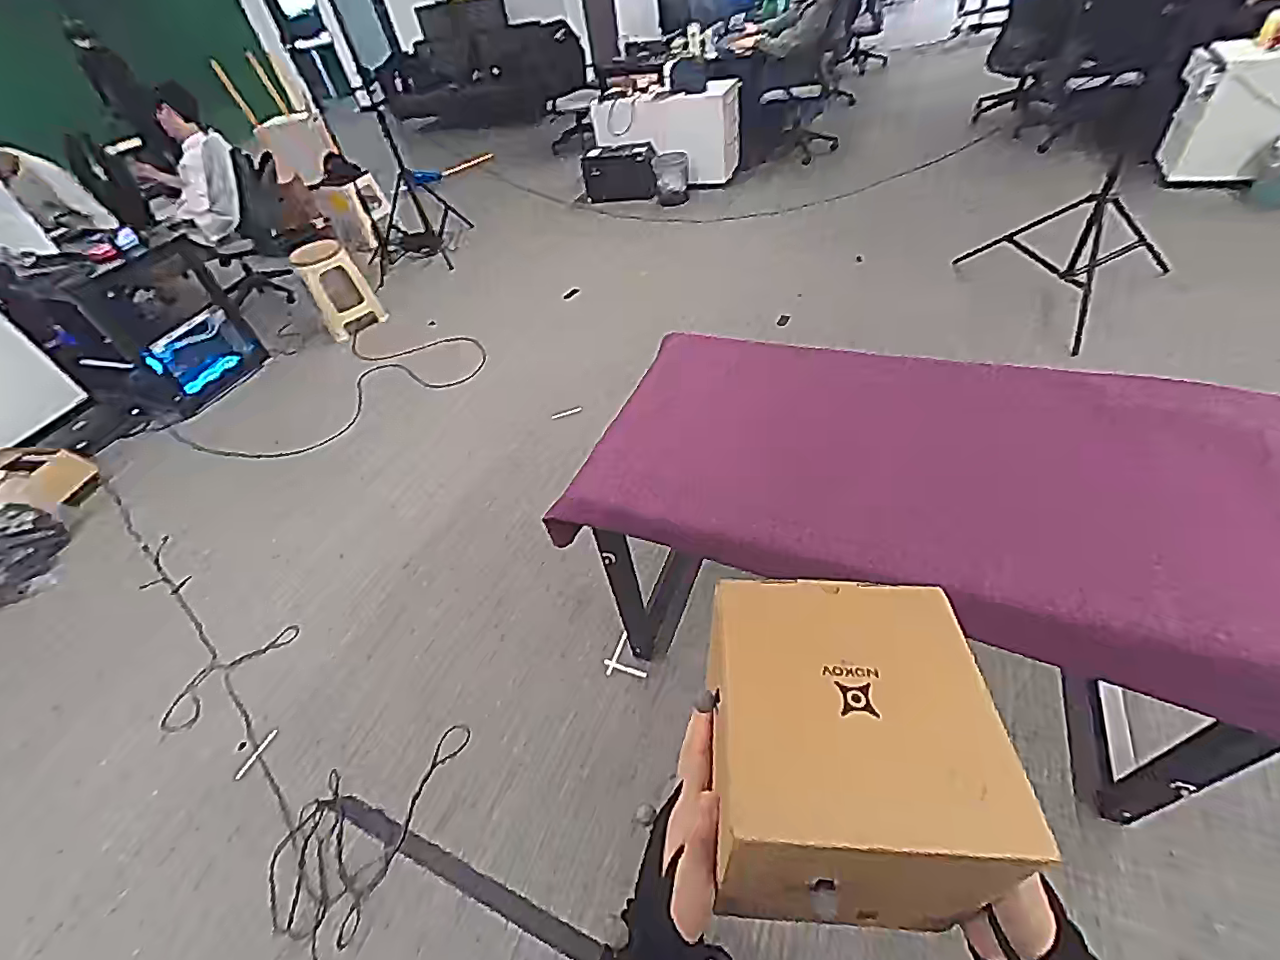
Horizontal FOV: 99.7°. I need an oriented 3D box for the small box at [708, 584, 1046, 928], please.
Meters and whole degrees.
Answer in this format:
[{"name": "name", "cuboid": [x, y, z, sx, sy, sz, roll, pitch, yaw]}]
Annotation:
[{"name": "small box", "cuboid": [0.139, 0.199, 0.398, 0.168, 0.176, 0.179, 2, 39, 4]}]
